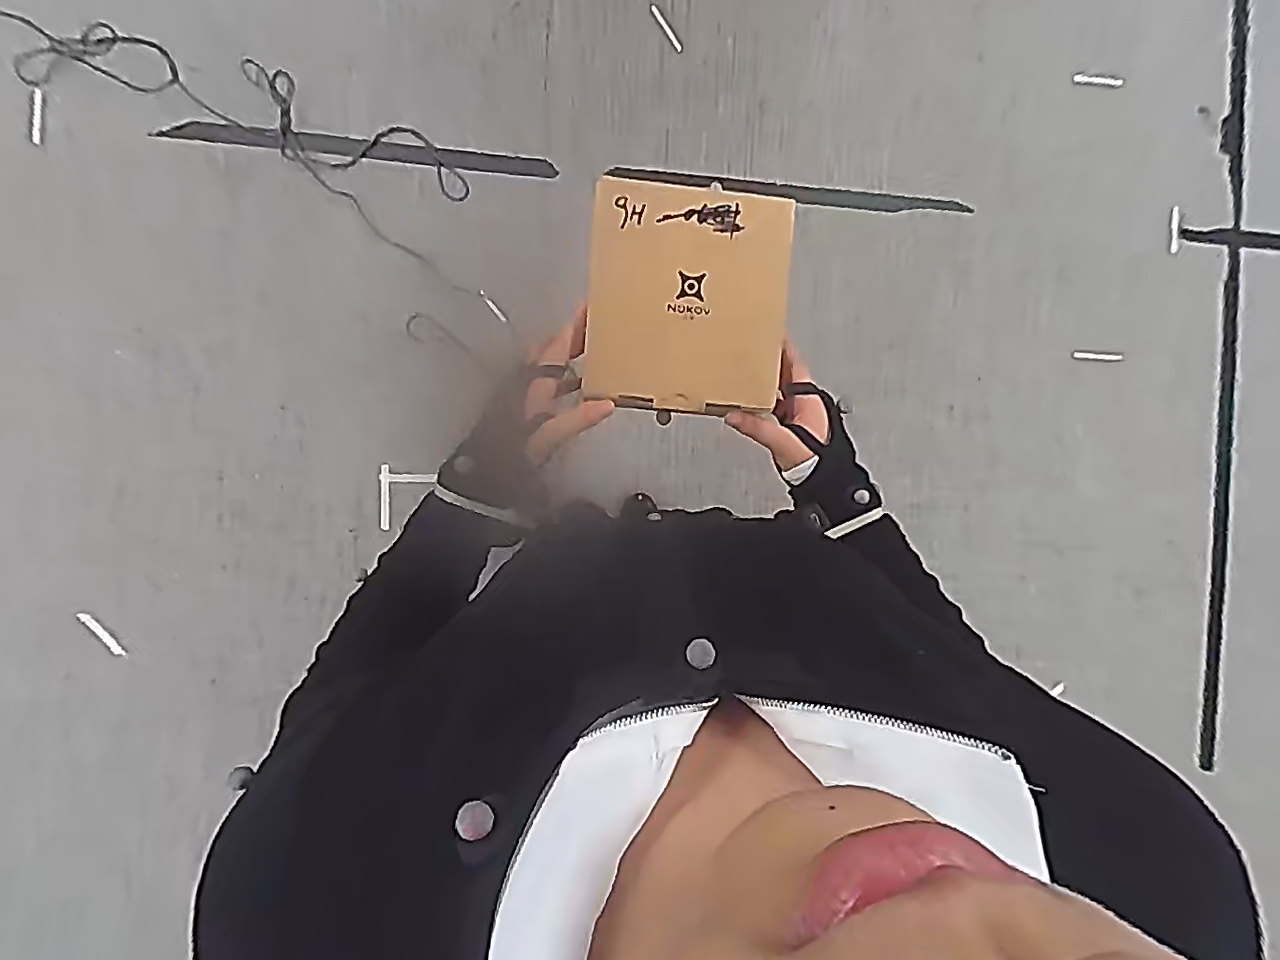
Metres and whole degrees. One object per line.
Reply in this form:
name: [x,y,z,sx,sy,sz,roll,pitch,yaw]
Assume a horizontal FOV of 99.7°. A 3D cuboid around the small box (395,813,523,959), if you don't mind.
small box: [-0.296,0.704,0.915,0.168,0.176,0.179,3,88,-2]
